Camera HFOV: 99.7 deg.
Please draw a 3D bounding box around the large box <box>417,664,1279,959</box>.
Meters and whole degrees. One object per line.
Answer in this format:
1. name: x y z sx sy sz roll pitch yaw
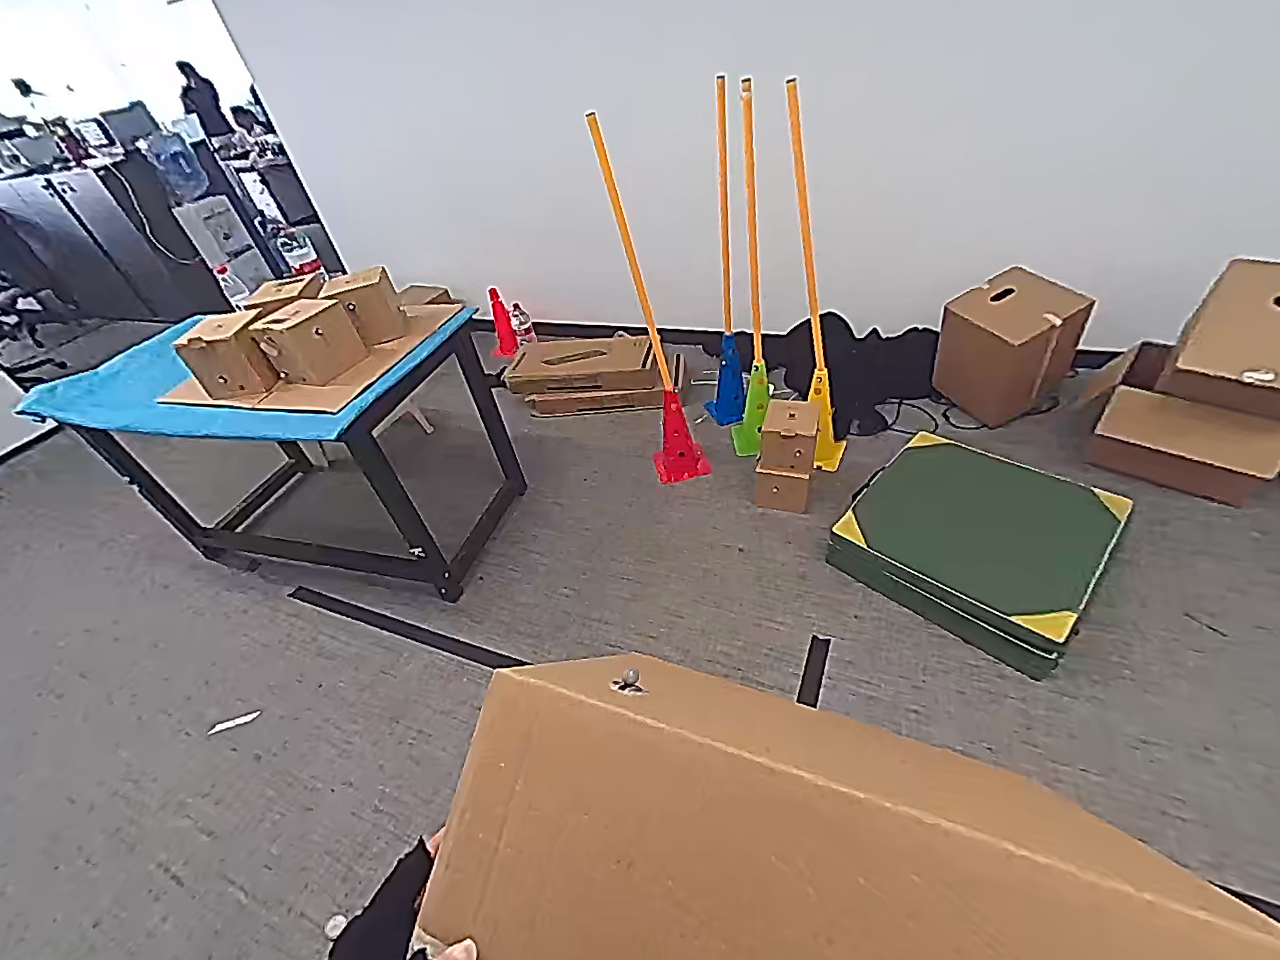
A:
1. large box: 0.094 0.345 0.398 0.408 0.320 0.320 11 79 19
